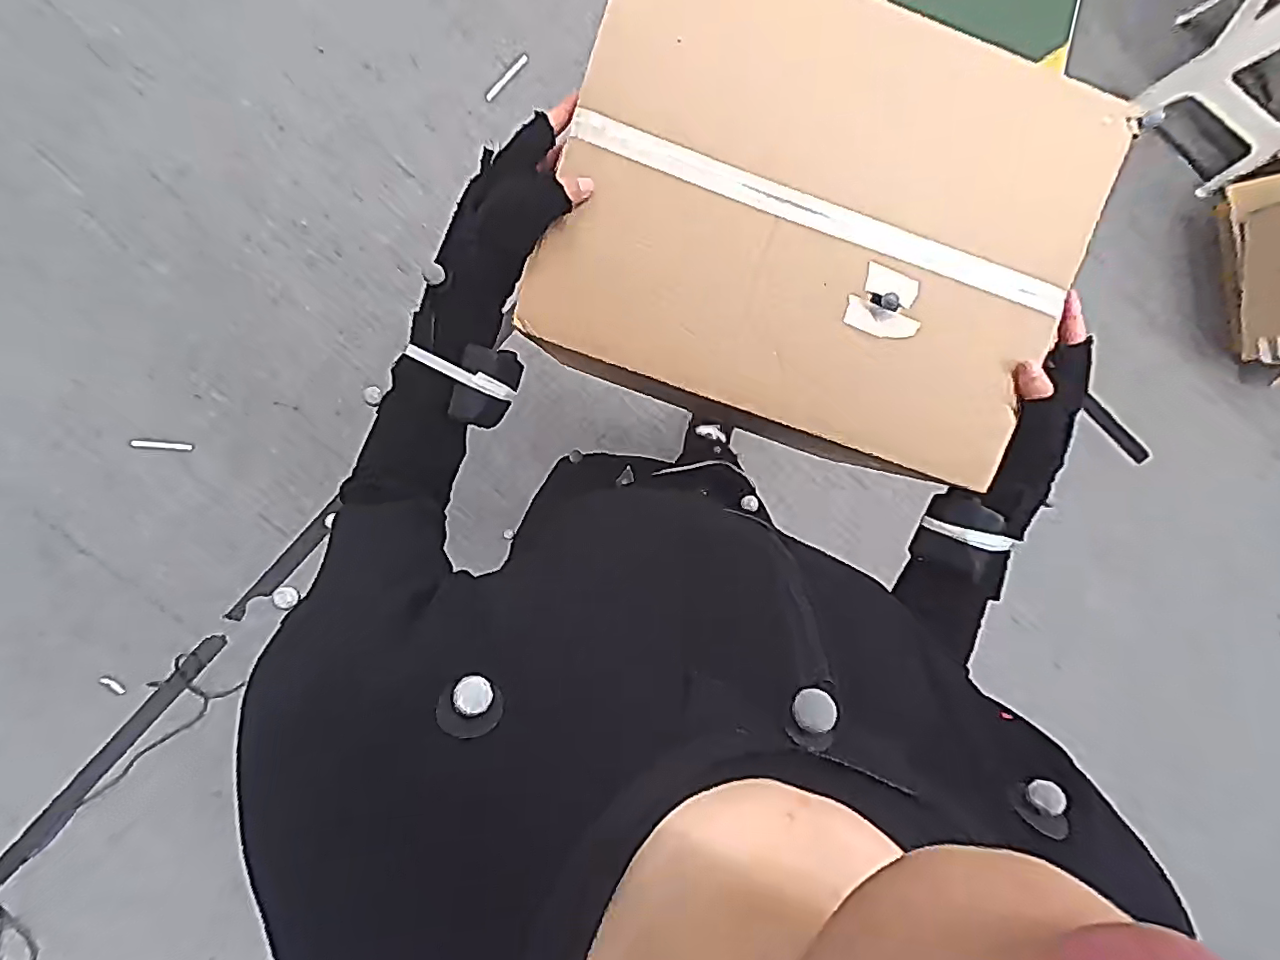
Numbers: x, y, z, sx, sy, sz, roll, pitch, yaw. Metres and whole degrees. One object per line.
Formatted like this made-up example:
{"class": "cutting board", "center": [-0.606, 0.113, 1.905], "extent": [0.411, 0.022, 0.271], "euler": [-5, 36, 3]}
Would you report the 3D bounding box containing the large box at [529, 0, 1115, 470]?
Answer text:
{"class": "large box", "center": [0.136, -0.229, 0.576], "extent": [0.408, 0.320, 0.320], "euler": [19, 97, -5]}
